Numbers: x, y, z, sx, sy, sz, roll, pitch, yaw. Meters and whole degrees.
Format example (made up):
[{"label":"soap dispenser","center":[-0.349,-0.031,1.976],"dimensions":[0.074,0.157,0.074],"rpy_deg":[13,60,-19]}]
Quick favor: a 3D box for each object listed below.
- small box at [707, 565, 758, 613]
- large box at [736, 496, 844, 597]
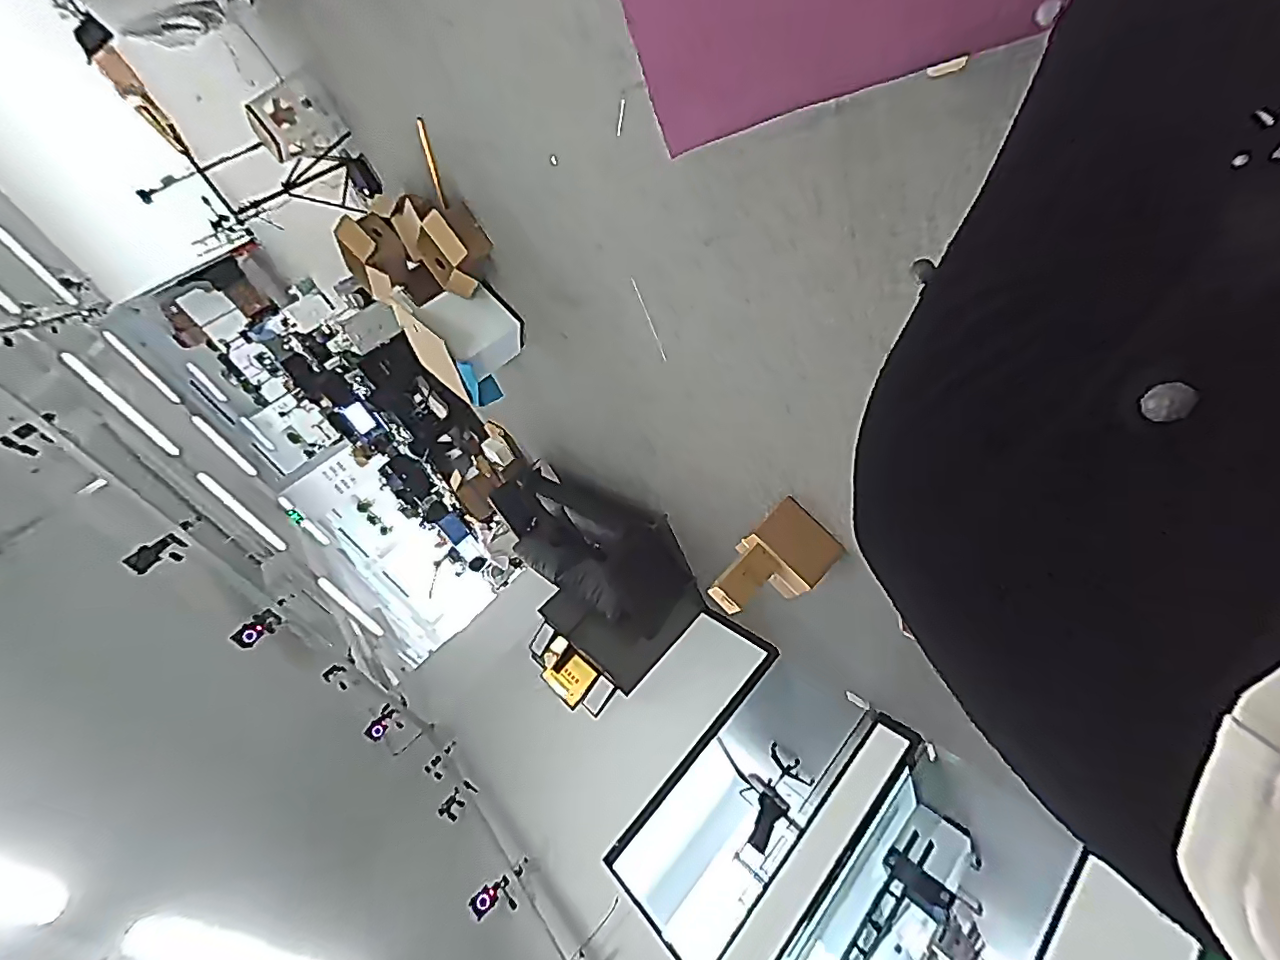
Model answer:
[{"label":"small box","center":[0.473,0.553,2.753],"dimensions":[0.168,0.176,0.179],"rpy_deg":[45,159,7]},{"label":"large box","center":[0.801,0.360,2.926],"dimensions":[0.408,0.320,0.320],"rpy_deg":[44,159,8]}]
